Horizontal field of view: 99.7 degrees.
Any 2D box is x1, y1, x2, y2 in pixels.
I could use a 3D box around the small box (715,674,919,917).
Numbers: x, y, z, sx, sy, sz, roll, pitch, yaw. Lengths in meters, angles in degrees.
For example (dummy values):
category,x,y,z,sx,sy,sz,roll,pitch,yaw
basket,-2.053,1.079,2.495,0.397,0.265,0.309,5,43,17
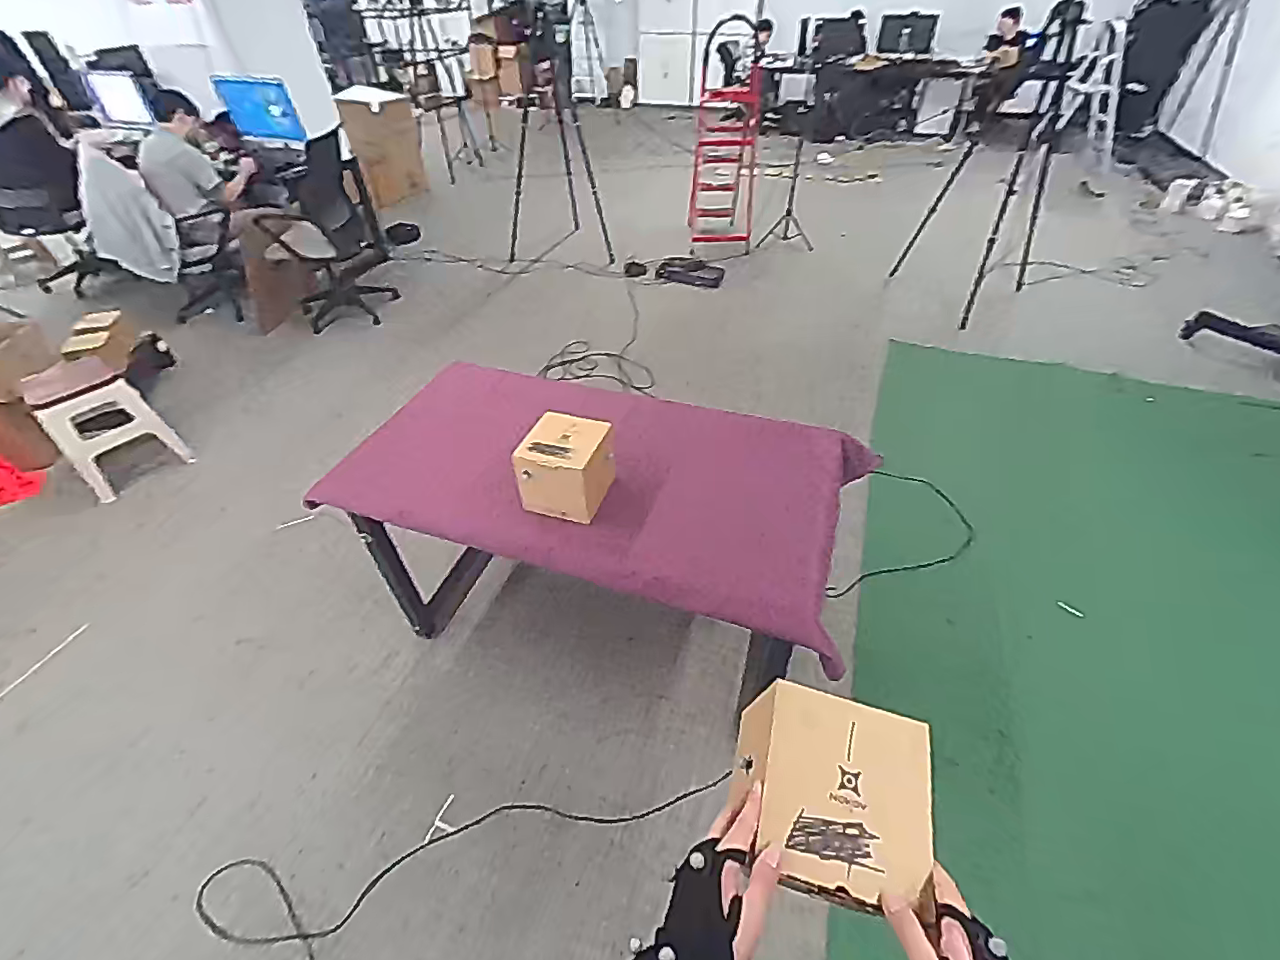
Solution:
category,x,y,z,sx,sy,sz,roll,pitch,yaw
small box,0.187,0.345,0.599,0.168,0.176,0.179,15,55,5
